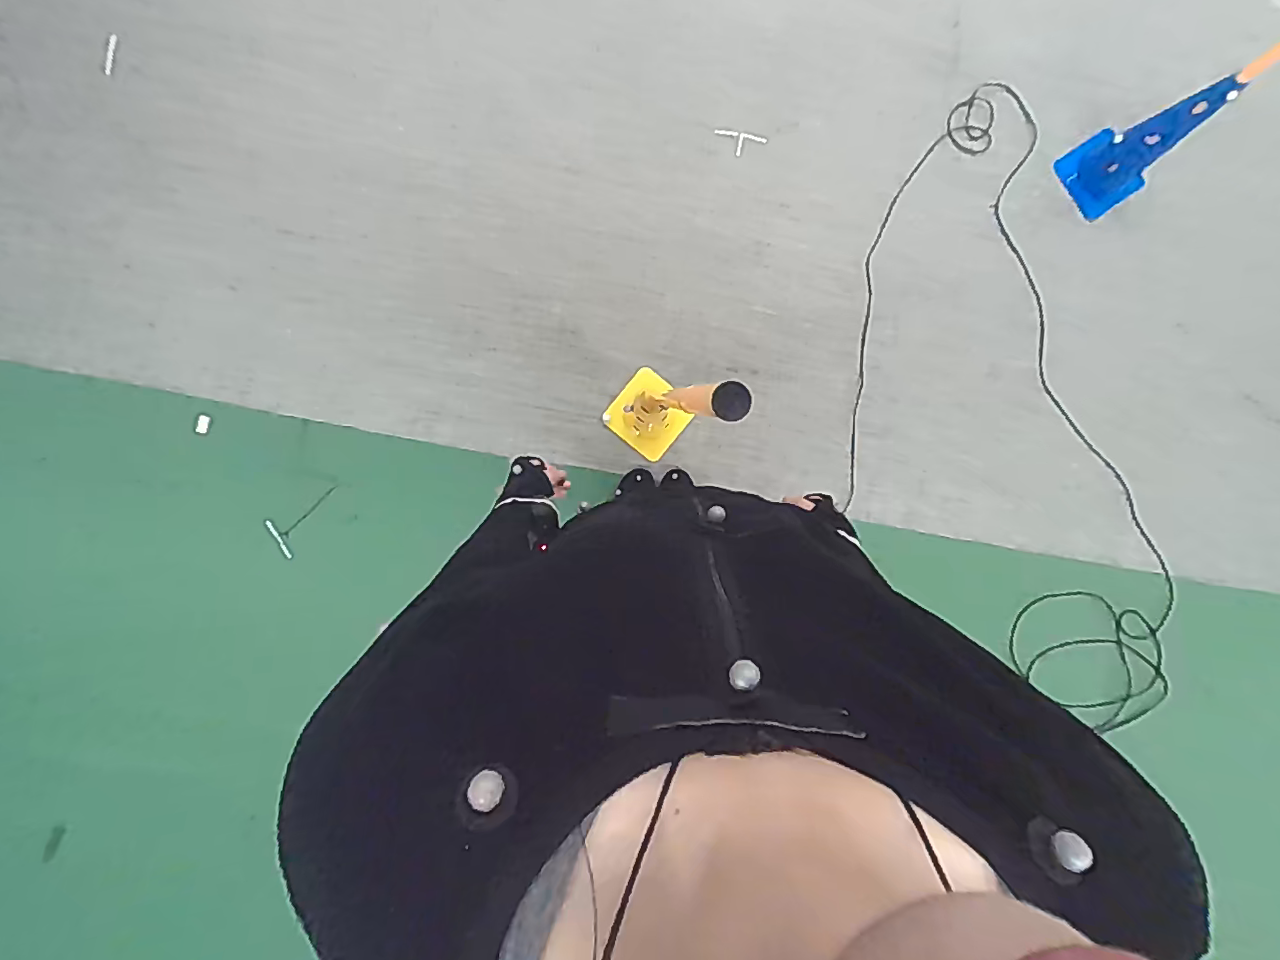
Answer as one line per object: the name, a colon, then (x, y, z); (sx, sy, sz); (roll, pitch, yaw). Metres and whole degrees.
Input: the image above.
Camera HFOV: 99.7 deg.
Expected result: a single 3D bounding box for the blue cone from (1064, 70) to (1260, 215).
blue cone: (1.300, -0.863, 1.342); (0.193, 0.380, 0.192); (-35, 90, -3)
